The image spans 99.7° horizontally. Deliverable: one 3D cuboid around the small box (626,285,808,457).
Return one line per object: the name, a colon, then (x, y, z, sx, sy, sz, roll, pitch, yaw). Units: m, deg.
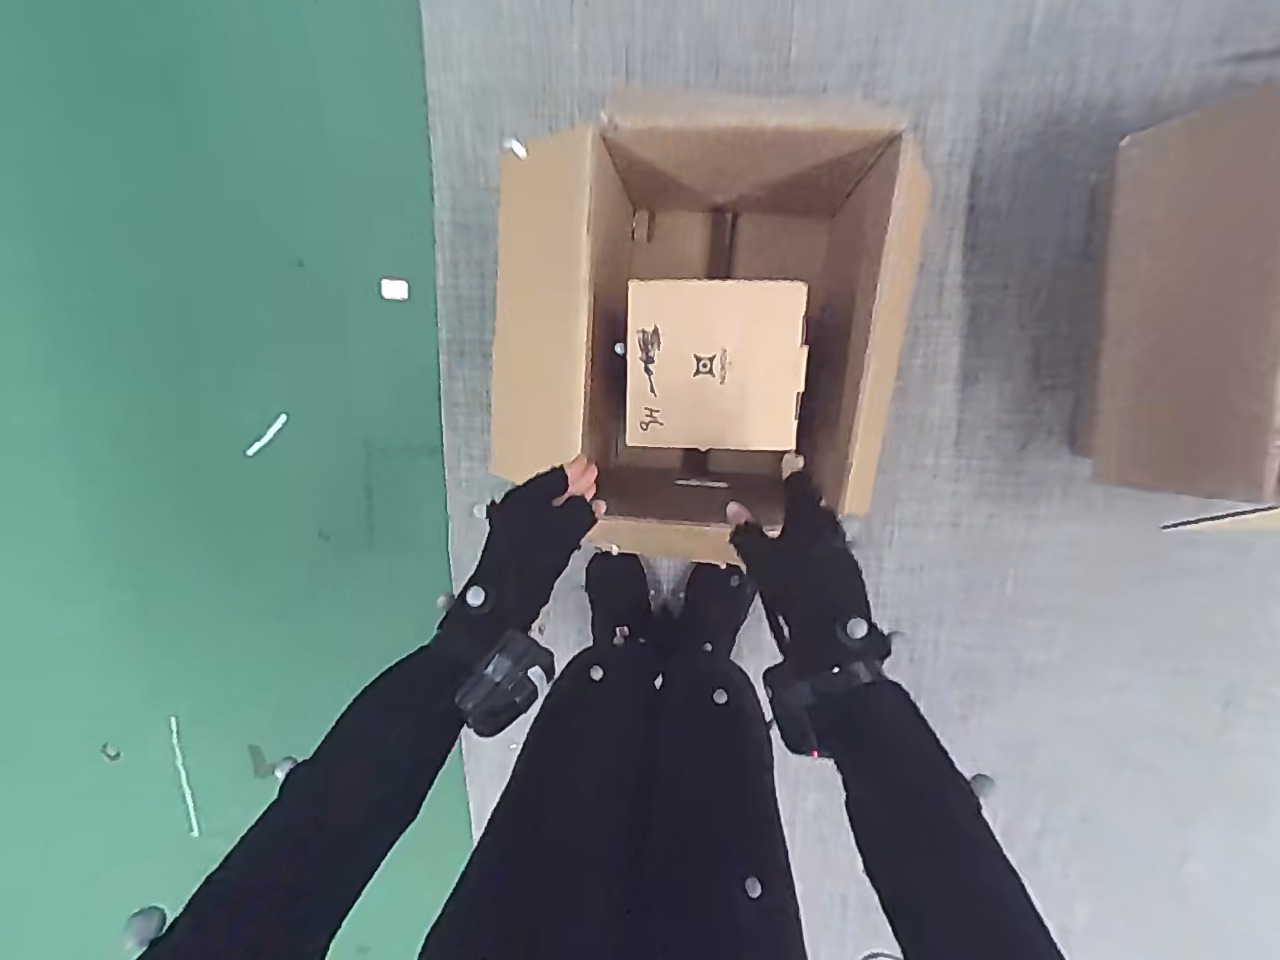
small box: (0.079, -0.122, 0.625, 0.179, 0.176, 0.168, 3, 99, 2)
